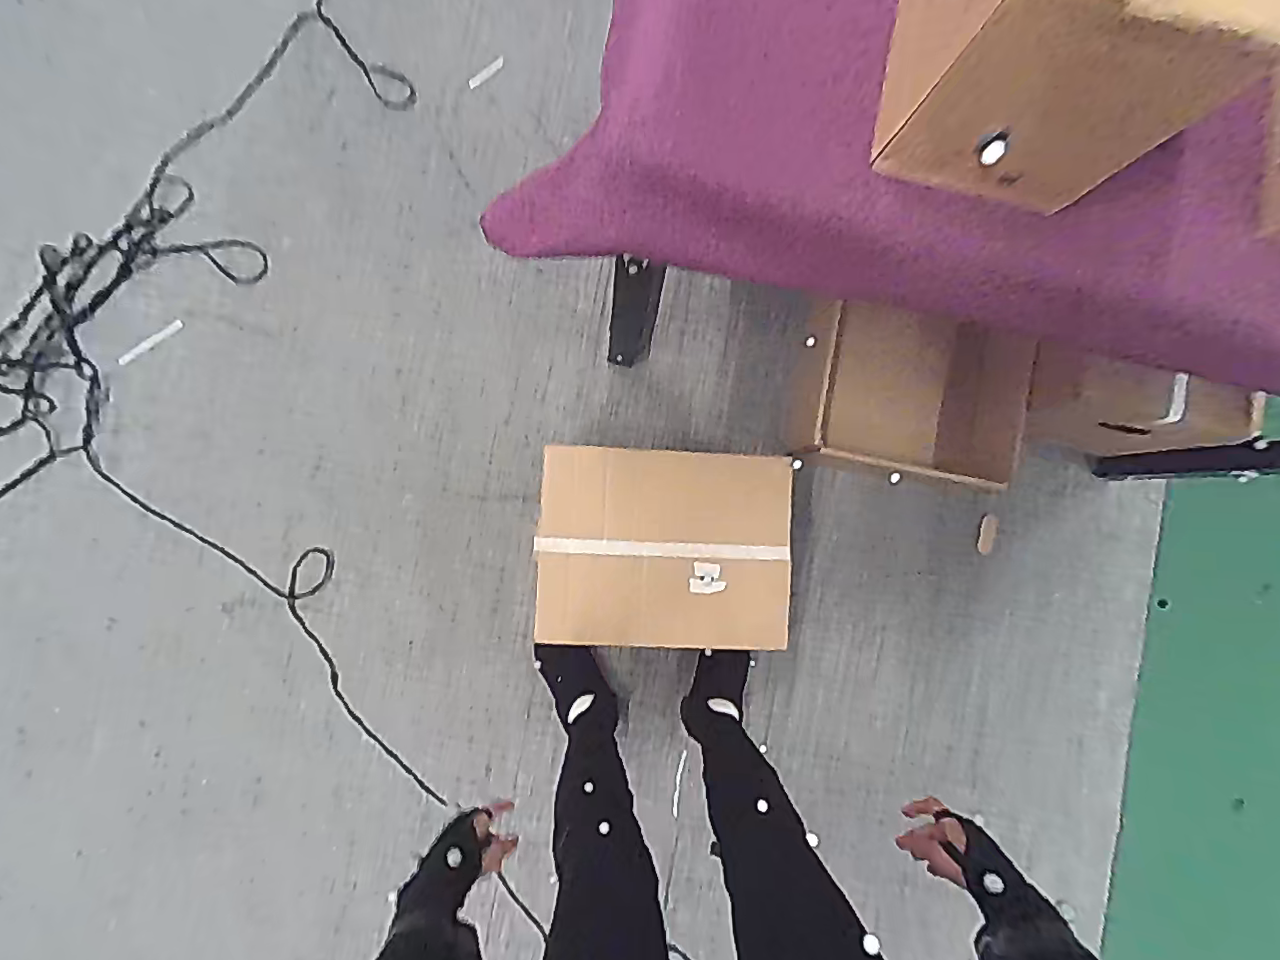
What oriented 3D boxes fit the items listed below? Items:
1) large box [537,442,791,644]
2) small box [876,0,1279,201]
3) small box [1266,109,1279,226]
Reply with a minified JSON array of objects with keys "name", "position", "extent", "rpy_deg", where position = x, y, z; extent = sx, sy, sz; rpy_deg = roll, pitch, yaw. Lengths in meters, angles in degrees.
[{"name":"large box","position":[0.029,0.110,0.998],"extent":[0.408,0.320,0.320],"rpy_deg":[3,87,-5]},{"name":"small box","position":[0.286,-0.332,0.367],"extent":[0.168,0.176,0.179],"rpy_deg":[11,87,-4]},{"name":"small box","position":[0.634,-0.282,0.388],"extent":[0.179,0.176,0.168],"rpy_deg":[10,86,-3]}]
